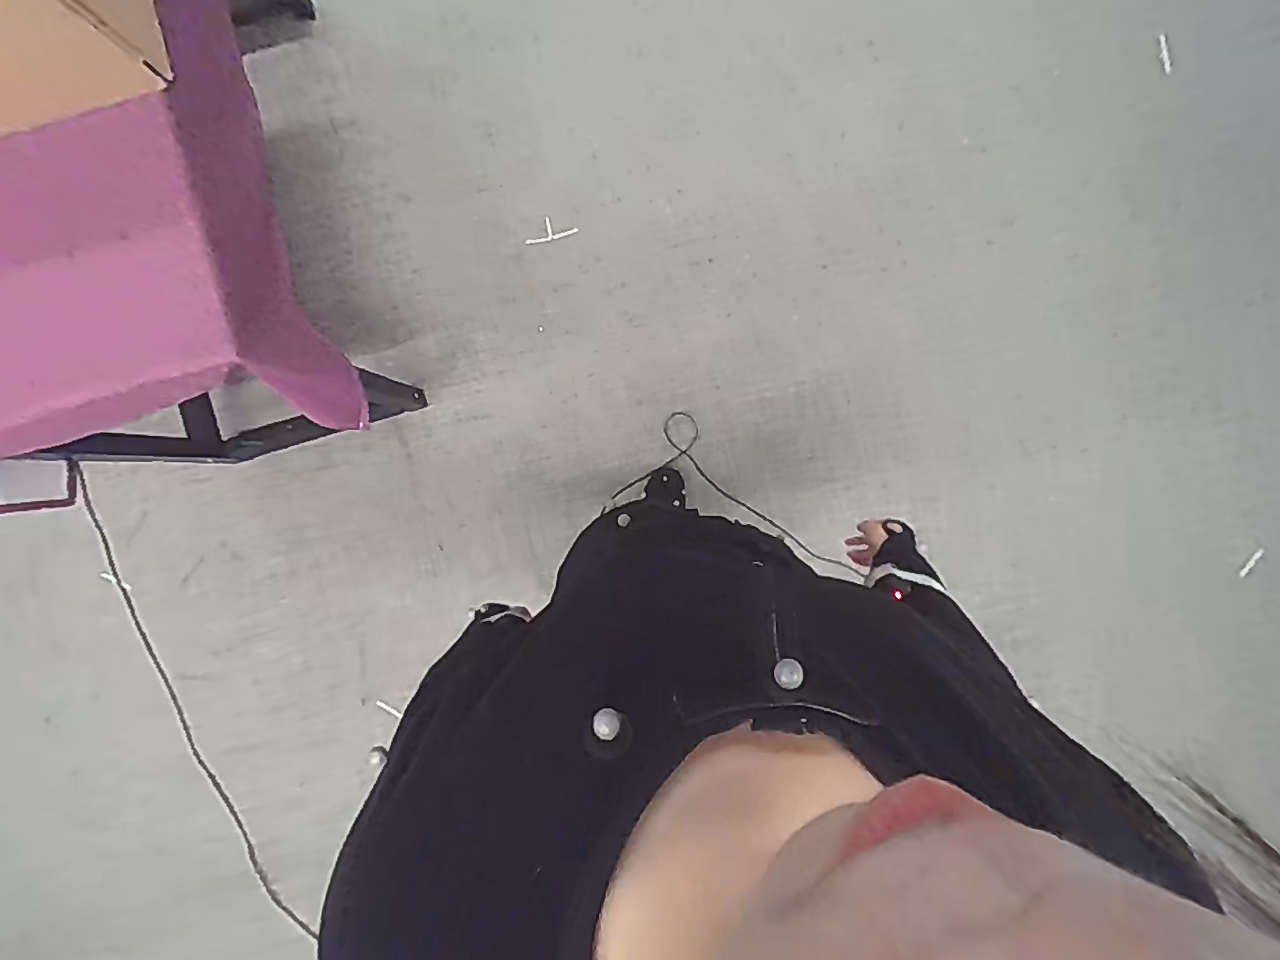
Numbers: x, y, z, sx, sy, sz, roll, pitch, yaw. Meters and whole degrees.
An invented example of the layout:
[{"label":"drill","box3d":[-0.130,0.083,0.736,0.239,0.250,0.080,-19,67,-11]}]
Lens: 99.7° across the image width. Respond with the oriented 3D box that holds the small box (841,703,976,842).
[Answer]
[{"label":"small box","box3d":[0.526,0.580,1.091,0.179,0.176,0.168,-16,90,1]}]
